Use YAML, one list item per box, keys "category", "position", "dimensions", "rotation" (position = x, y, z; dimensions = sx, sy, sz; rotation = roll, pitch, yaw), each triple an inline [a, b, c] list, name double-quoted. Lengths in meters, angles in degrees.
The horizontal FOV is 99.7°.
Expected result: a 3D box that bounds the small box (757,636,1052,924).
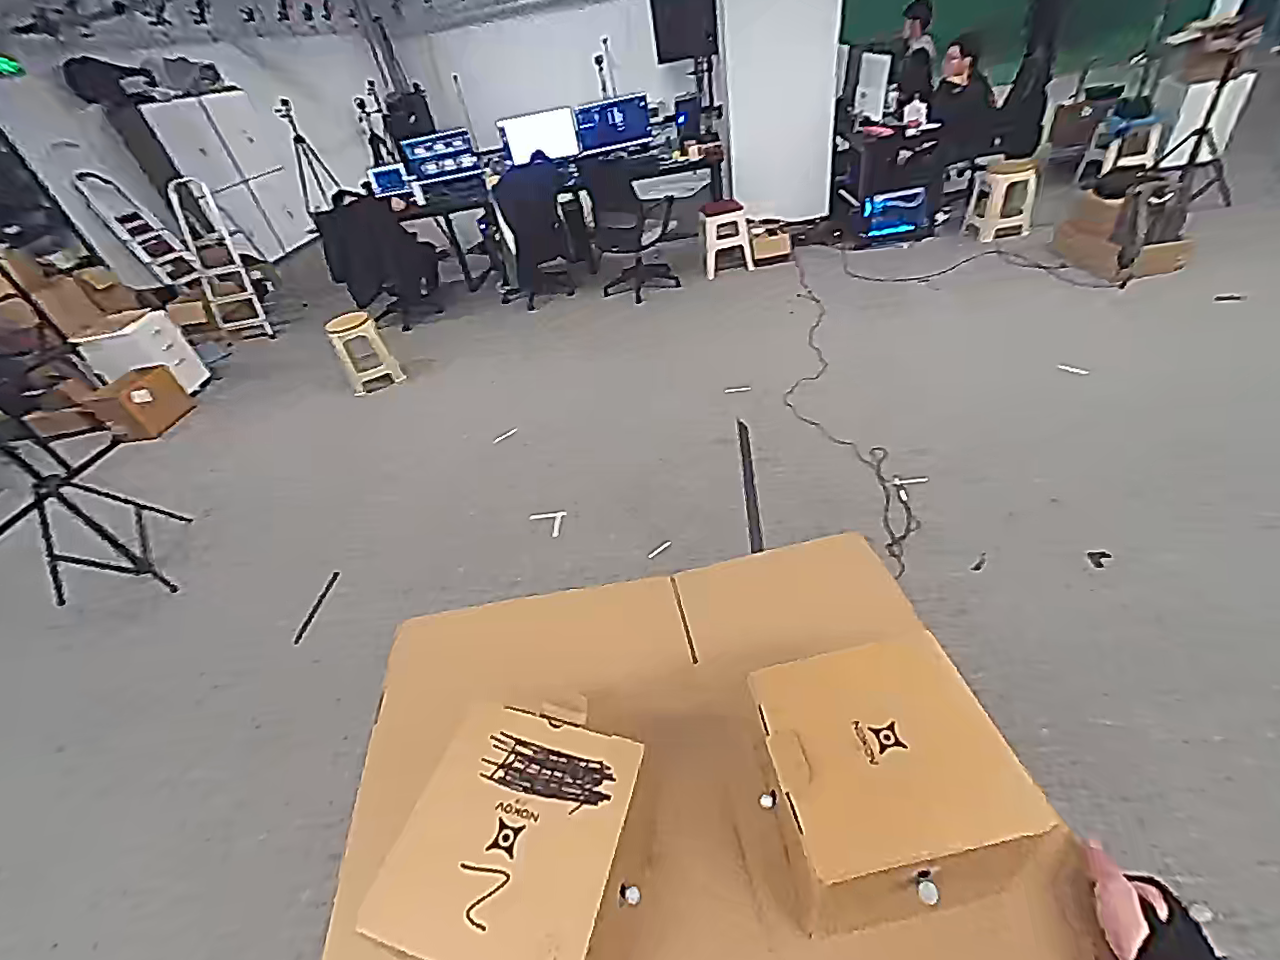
- category: "small box"
  position: [0.217, 0.276, 0.500]
  dimensions: [0.179, 0.176, 0.168]
  rotation: [-13, 38, 0]
